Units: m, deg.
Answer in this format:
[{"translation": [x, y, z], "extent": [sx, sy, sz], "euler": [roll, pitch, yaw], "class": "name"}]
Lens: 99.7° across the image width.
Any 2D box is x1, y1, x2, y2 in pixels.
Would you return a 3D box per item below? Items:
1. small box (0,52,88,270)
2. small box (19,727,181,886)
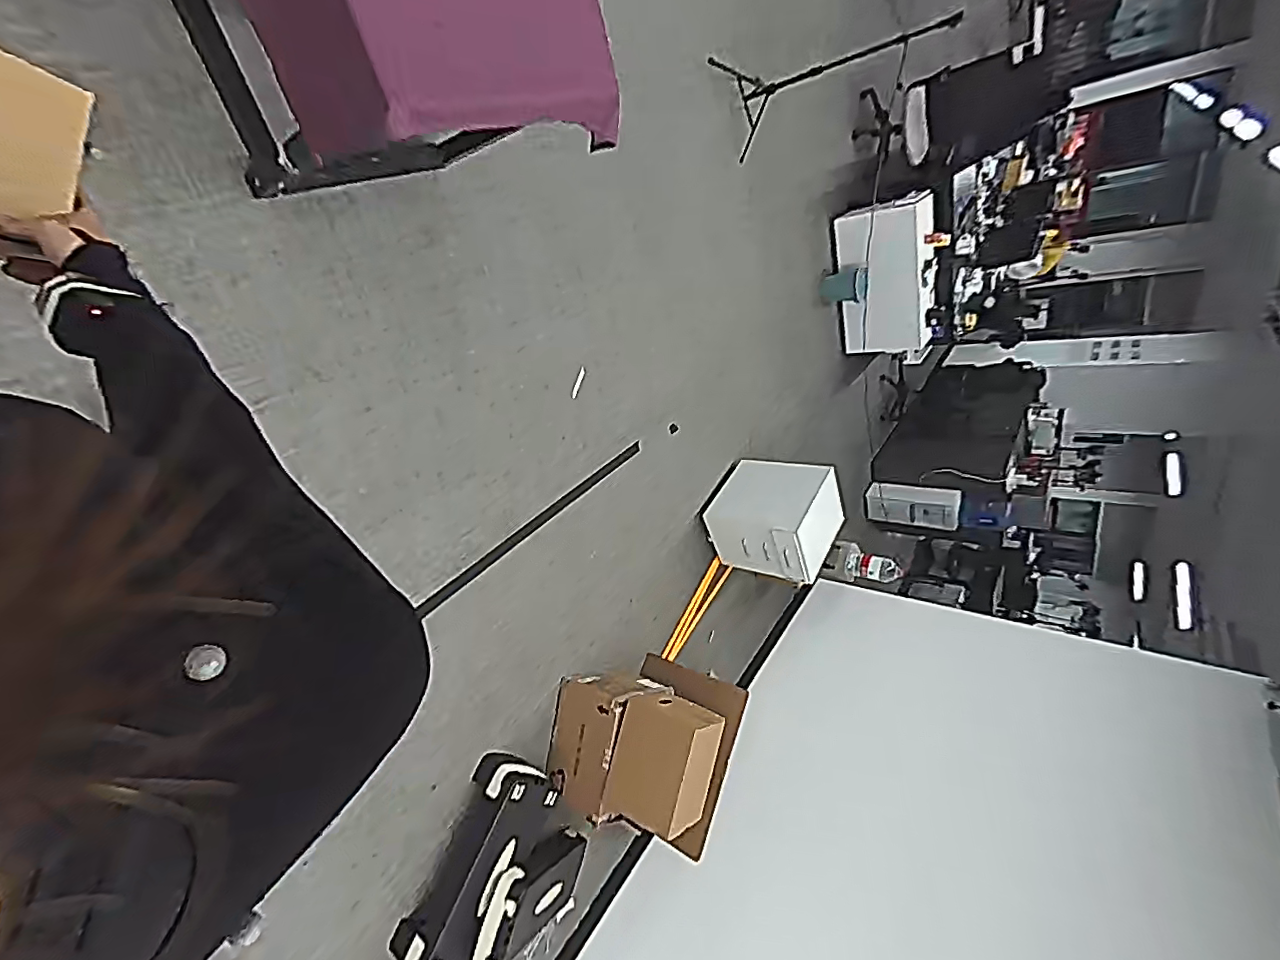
[{"translation": [-0.703, -0.337, 0.551], "extent": [0.168, 0.176, 0.179], "euler": [10, 89, -50], "class": "small box"}, {"translation": [-1.053, 0.626, 1.062], "extent": [0.168, 0.176, 0.179], "euler": [-34, 120, -41], "class": "small box"}]
